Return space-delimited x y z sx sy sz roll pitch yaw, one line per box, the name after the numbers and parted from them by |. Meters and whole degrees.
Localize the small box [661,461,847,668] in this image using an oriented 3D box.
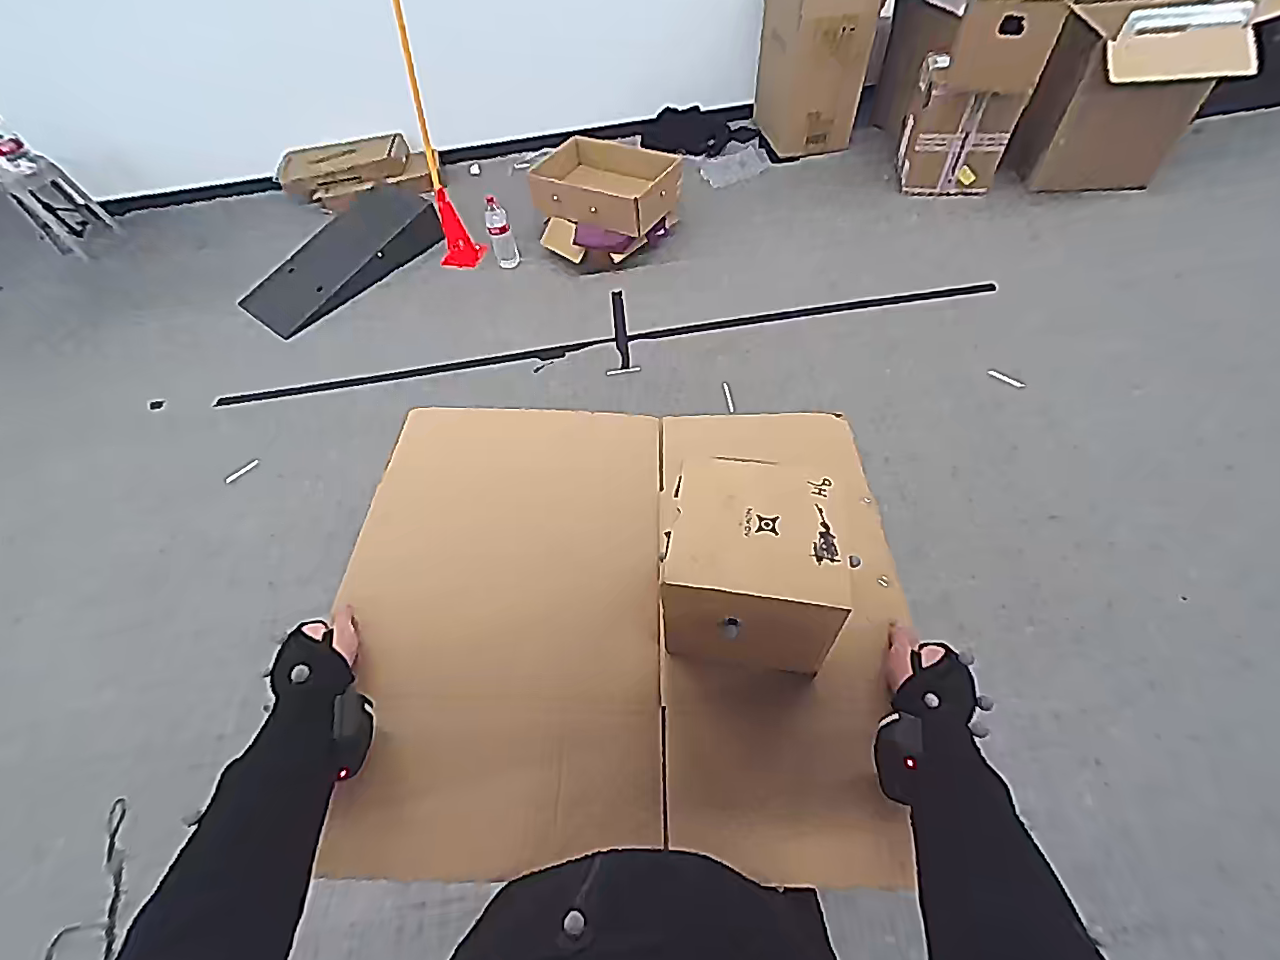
0.126 0.098 0.616 0.179 0.176 0.168 5 52 10 | small box
